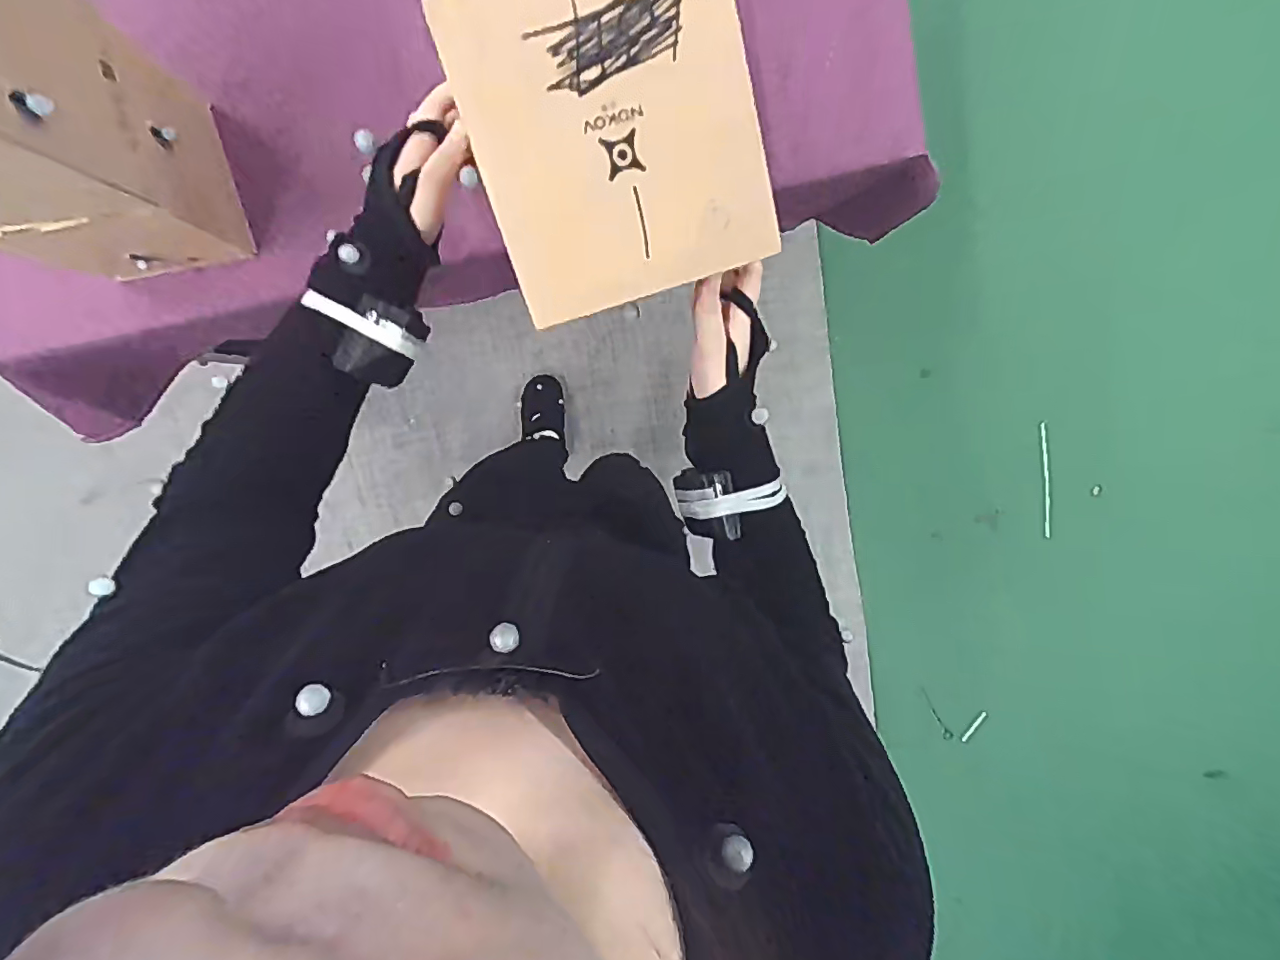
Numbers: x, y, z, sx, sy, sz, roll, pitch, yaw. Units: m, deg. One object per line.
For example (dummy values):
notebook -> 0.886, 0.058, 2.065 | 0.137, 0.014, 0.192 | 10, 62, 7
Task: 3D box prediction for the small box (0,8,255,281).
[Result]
small box -> -0.545, -0.321, 0.552 | 0.168, 0.176, 0.179 | -14, 102, -6
